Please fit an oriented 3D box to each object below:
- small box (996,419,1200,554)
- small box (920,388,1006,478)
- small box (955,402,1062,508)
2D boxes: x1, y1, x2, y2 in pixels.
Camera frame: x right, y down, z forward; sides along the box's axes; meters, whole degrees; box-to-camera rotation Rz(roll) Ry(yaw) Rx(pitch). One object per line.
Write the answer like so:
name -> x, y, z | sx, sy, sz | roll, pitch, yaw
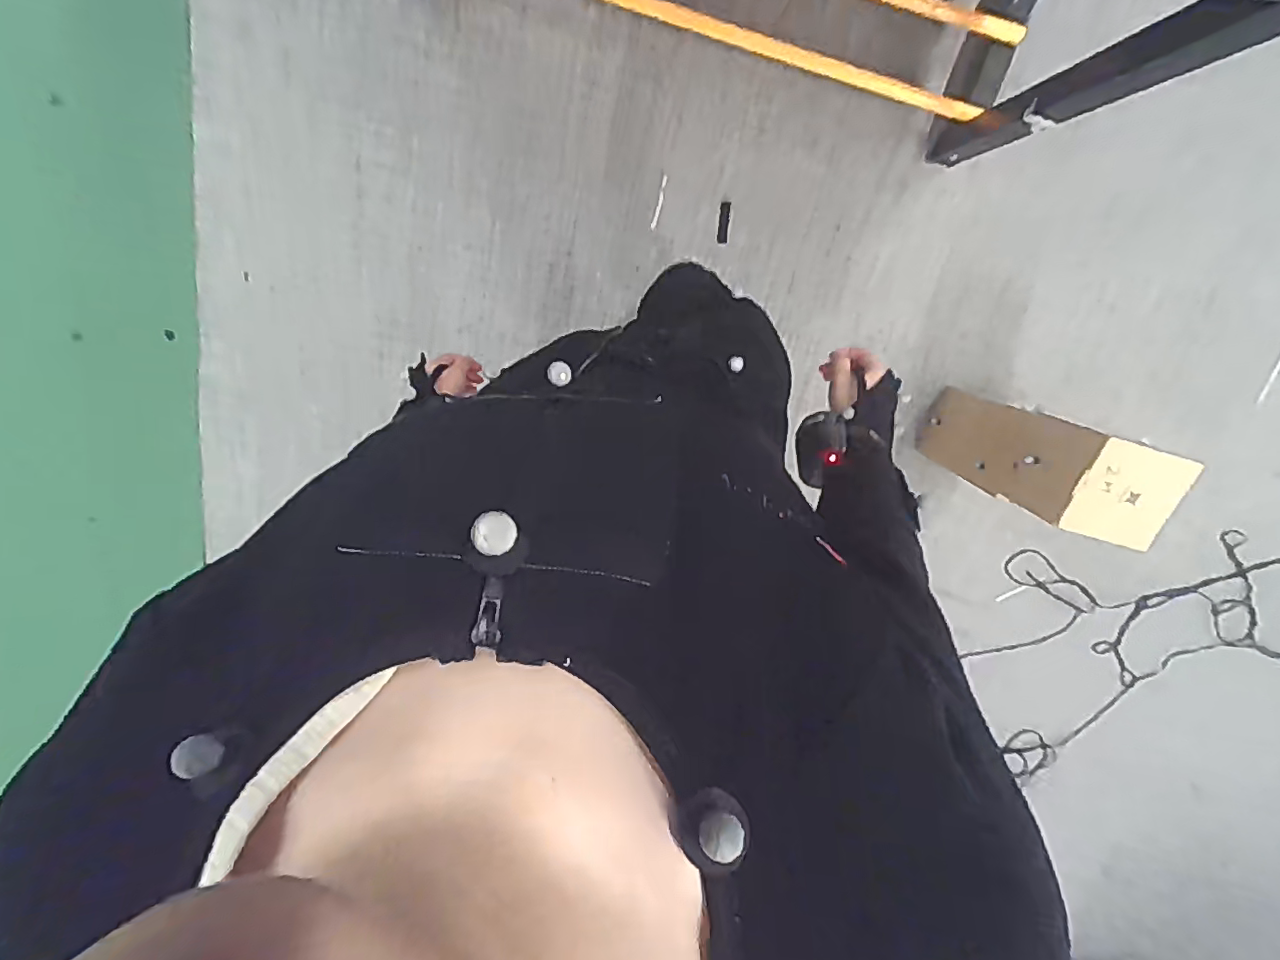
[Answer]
small box -> 0.790, 0.004, 0.954 | 0.179, 0.176, 0.168 | 15, 109, -5
small box -> 0.793, -0.097, 1.266 | 0.168, 0.176, 0.179 | 16, 110, -5
small box -> 0.789, -0.045, 1.112 | 0.168, 0.176, 0.179 | 14, 108, -5
